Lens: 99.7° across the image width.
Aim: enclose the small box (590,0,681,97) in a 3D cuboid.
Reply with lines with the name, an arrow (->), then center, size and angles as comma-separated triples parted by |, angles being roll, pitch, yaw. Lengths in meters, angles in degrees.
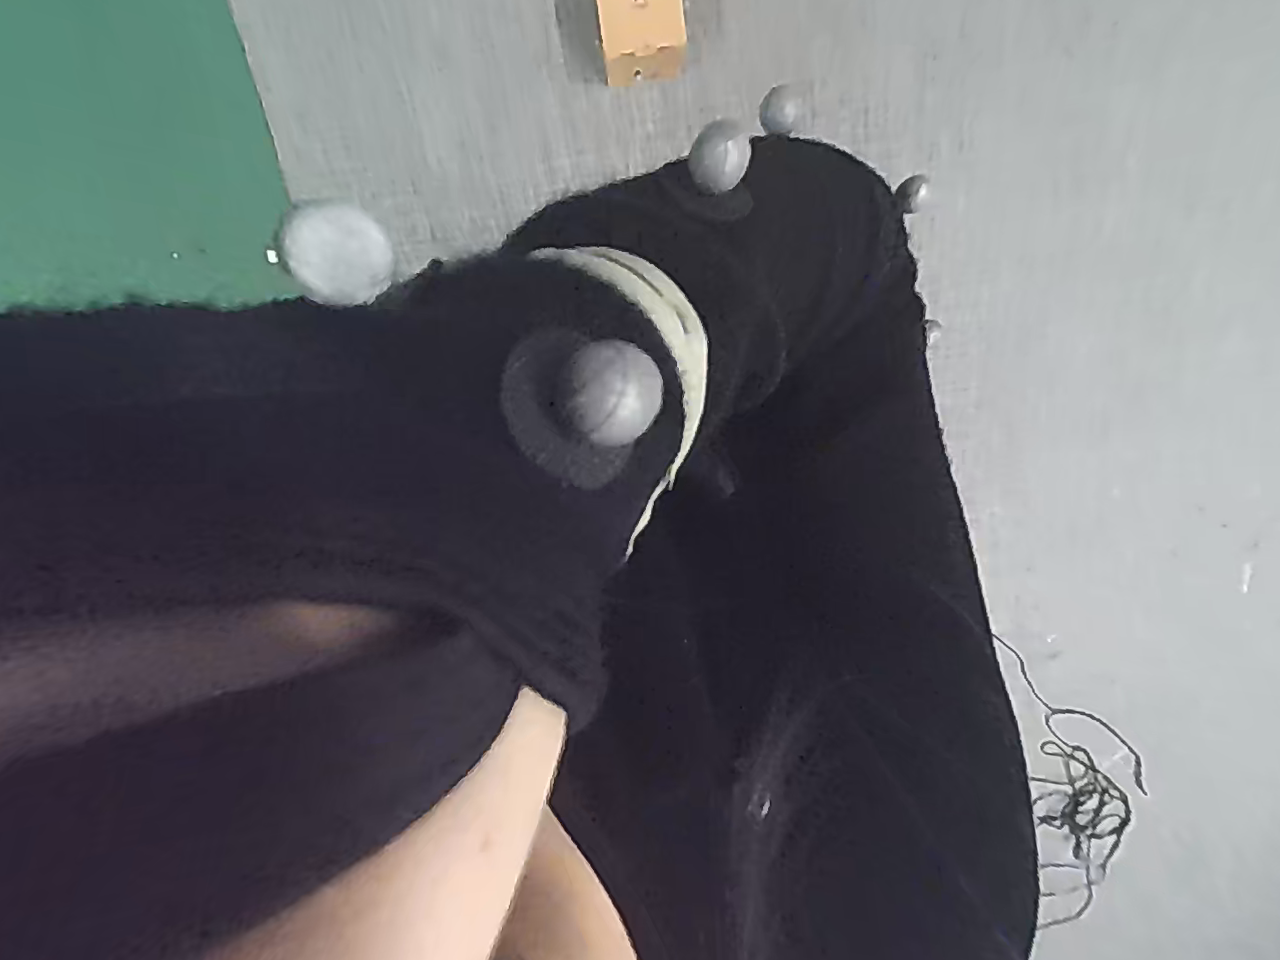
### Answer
small box -> -0.013, -0.938, 1.128 | 0.168, 0.176, 0.179 | -9, 110, 0
